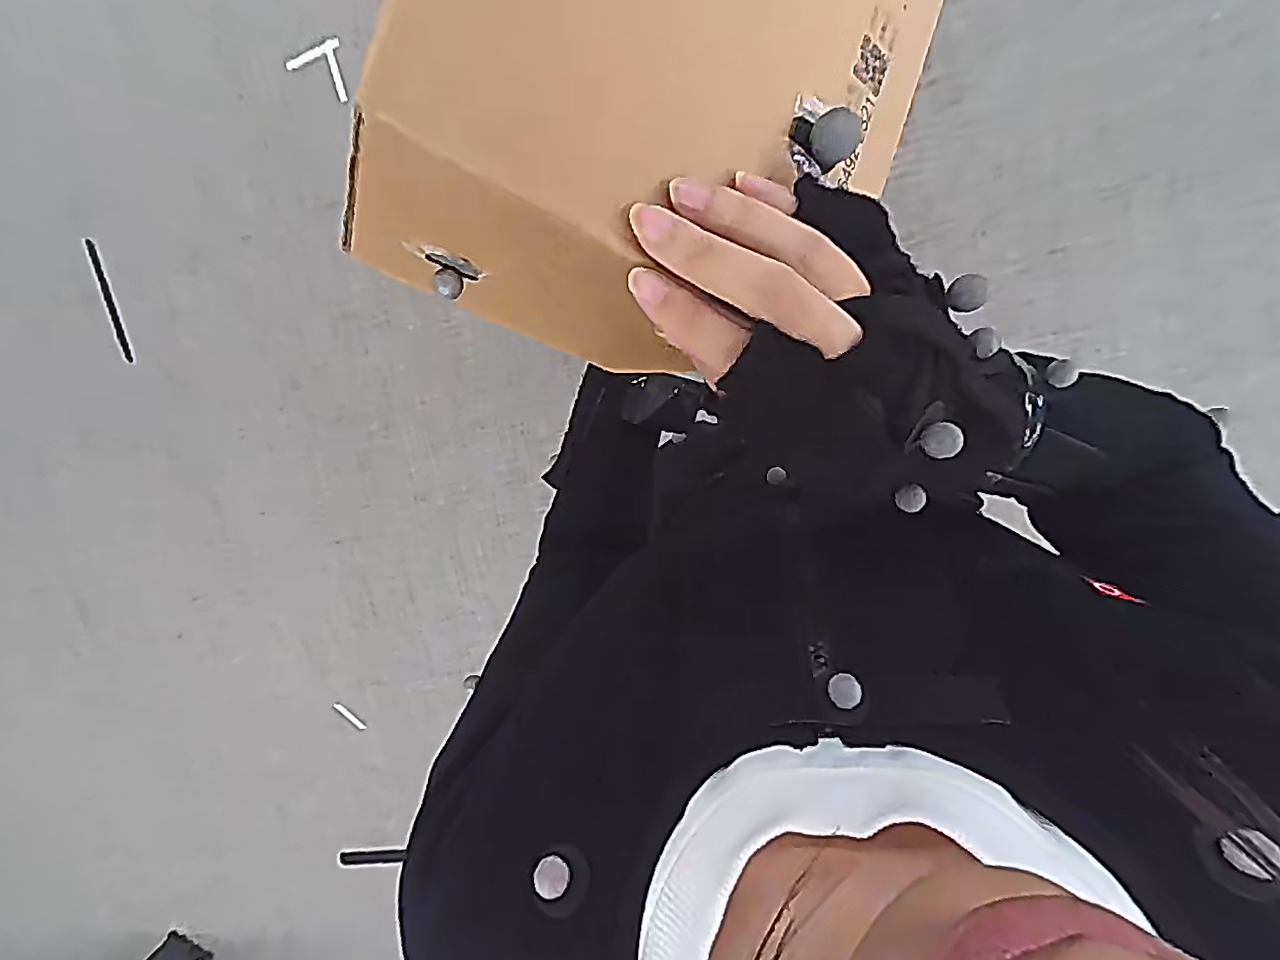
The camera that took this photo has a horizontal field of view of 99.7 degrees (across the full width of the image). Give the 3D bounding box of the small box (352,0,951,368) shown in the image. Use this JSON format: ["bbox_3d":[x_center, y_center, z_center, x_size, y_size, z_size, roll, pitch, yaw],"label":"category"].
[{"bbox_3d":[-0.009,-0.155,0.239,0.176,0.179,0.168,17,91,-32],"label":"small box"}]
